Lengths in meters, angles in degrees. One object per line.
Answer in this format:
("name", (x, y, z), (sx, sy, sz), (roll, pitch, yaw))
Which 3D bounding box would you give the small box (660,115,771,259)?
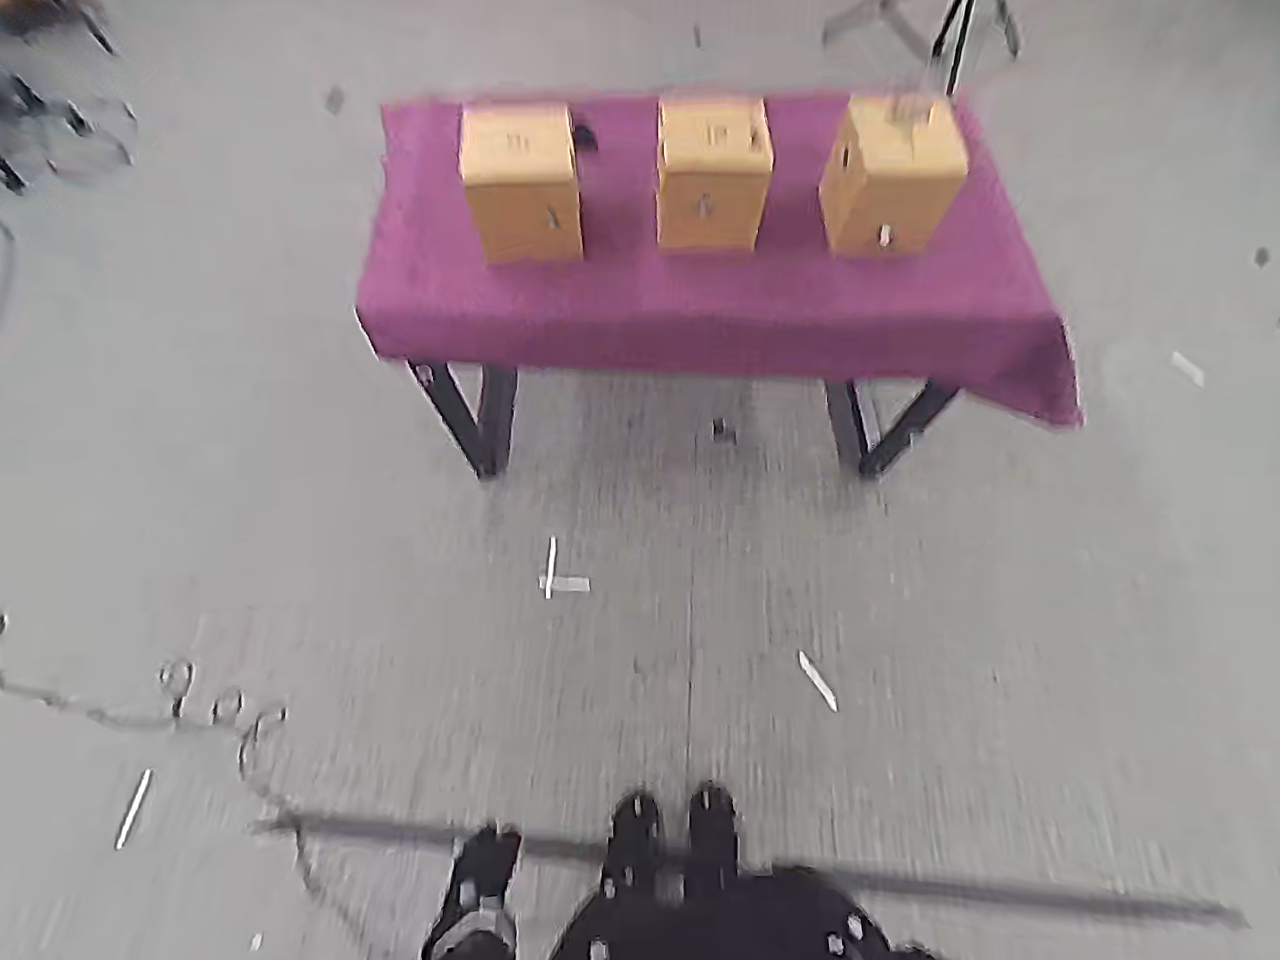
("small box", (0.124, -0.515, 0.965), (0.179, 0.176, 0.168), (-1, 64, 0))

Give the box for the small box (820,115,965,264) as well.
("small box", (0.435, -0.515, 0.965), (0.168, 0.176, 0.179), (-1, 65, 0))

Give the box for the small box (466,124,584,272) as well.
("small box", (-0.191, -0.489, 0.951), (0.179, 0.176, 0.168), (-5, 63, -2))
